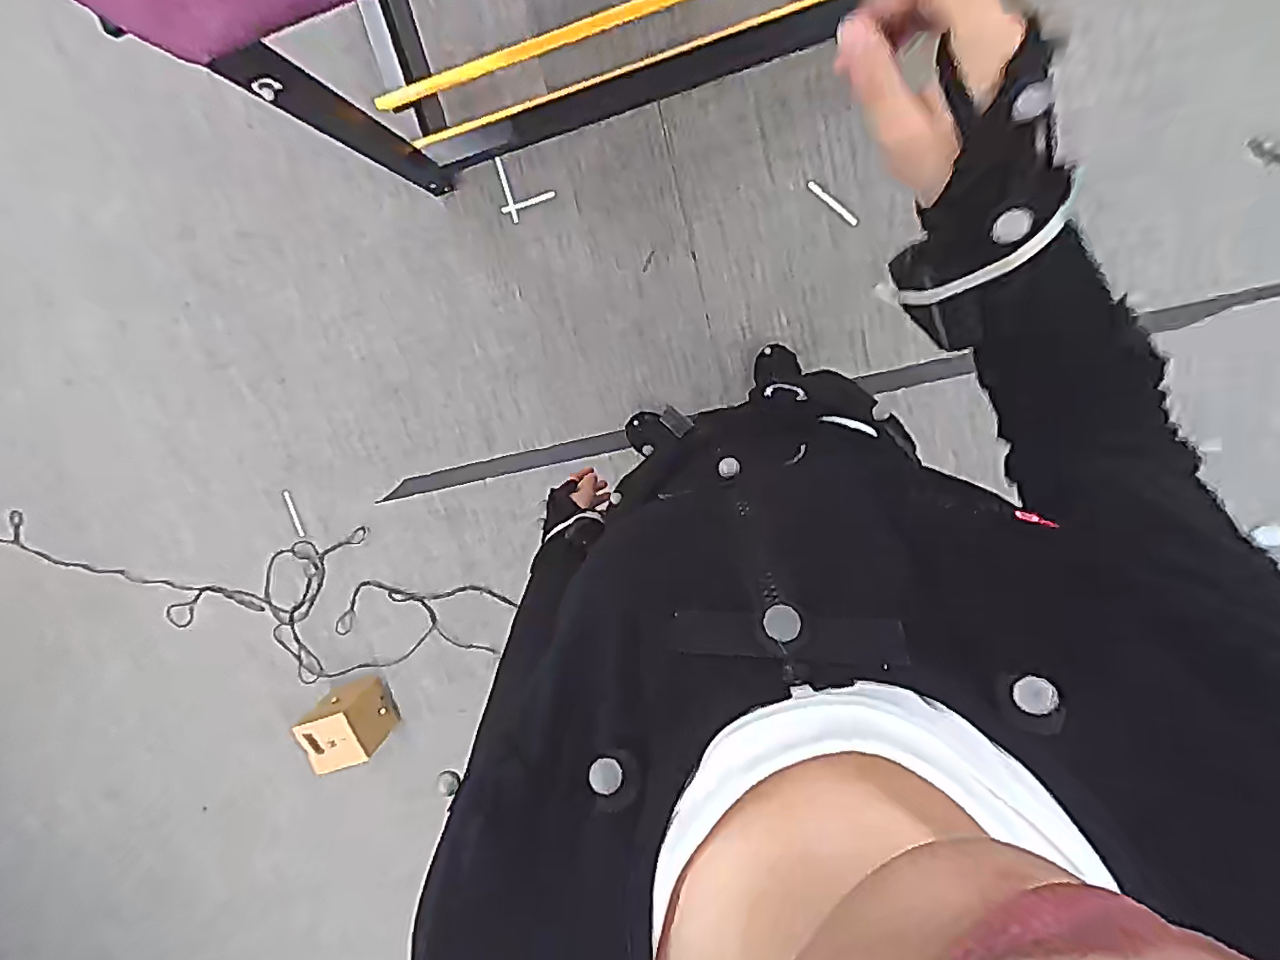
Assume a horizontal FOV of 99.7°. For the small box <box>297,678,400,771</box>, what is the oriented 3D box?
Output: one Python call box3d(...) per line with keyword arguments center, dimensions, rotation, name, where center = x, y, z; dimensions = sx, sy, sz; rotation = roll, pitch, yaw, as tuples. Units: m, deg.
box3d(center=(-0.856, 0.719, 1.603), dimensions=(0.179, 0.176, 0.168), rotation=(-19, 101, 11), name="small box")
